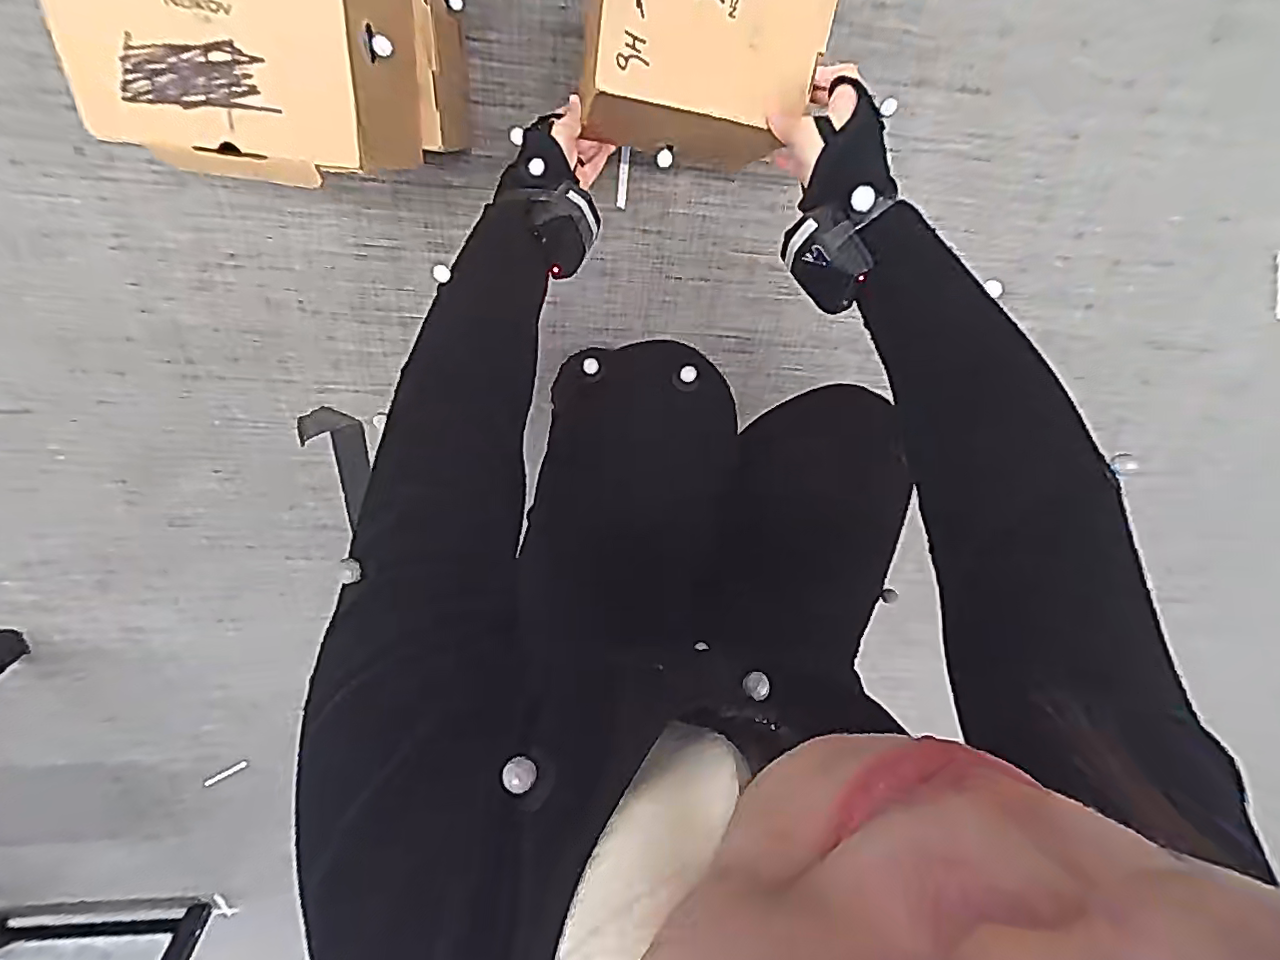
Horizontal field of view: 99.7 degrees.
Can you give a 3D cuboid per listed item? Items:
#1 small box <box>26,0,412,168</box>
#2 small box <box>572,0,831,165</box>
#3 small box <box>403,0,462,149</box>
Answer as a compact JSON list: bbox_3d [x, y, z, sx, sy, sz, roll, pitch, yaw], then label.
[{"bbox_3d":[-0.264,-0.325,0.367,0.168,0.176,0.179,3,121,-9],"label":"small box"},{"bbox_3d":[0.043,-0.389,0.465,0.179,0.176,0.168,4,109,-14],"label":"small box"},{"bbox_3d":[-0.270,-0.416,0.505,0.179,0.176,0.168,1,122,-7],"label":"small box"}]
